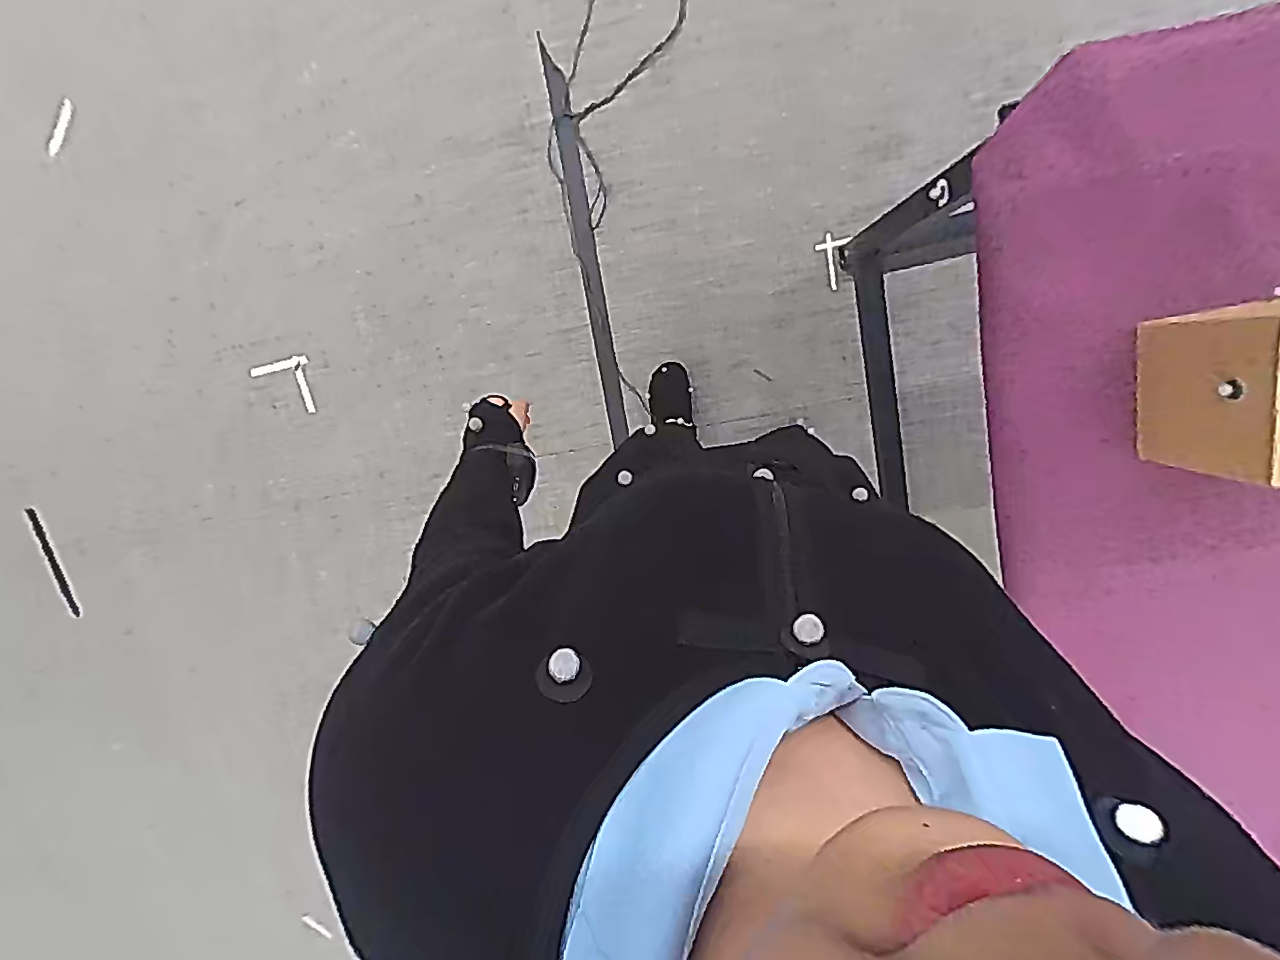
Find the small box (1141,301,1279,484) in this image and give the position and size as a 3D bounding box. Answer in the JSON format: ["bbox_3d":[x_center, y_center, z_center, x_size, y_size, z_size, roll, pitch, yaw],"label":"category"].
[{"bbox_3d":[0.711,-0.107,0.602,0.168,0.176,0.179,-10,102,6],"label":"small box"}]

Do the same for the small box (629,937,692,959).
[{"bbox_3d":[0.061,1.439,1.517,0.179,0.176,0.168,-14,101,6],"label":"small box"}]

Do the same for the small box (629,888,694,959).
[{"bbox_3d":[0.069,1.407,1.676,0.168,0.176,0.179,-13,102,7],"label":"small box"}]
